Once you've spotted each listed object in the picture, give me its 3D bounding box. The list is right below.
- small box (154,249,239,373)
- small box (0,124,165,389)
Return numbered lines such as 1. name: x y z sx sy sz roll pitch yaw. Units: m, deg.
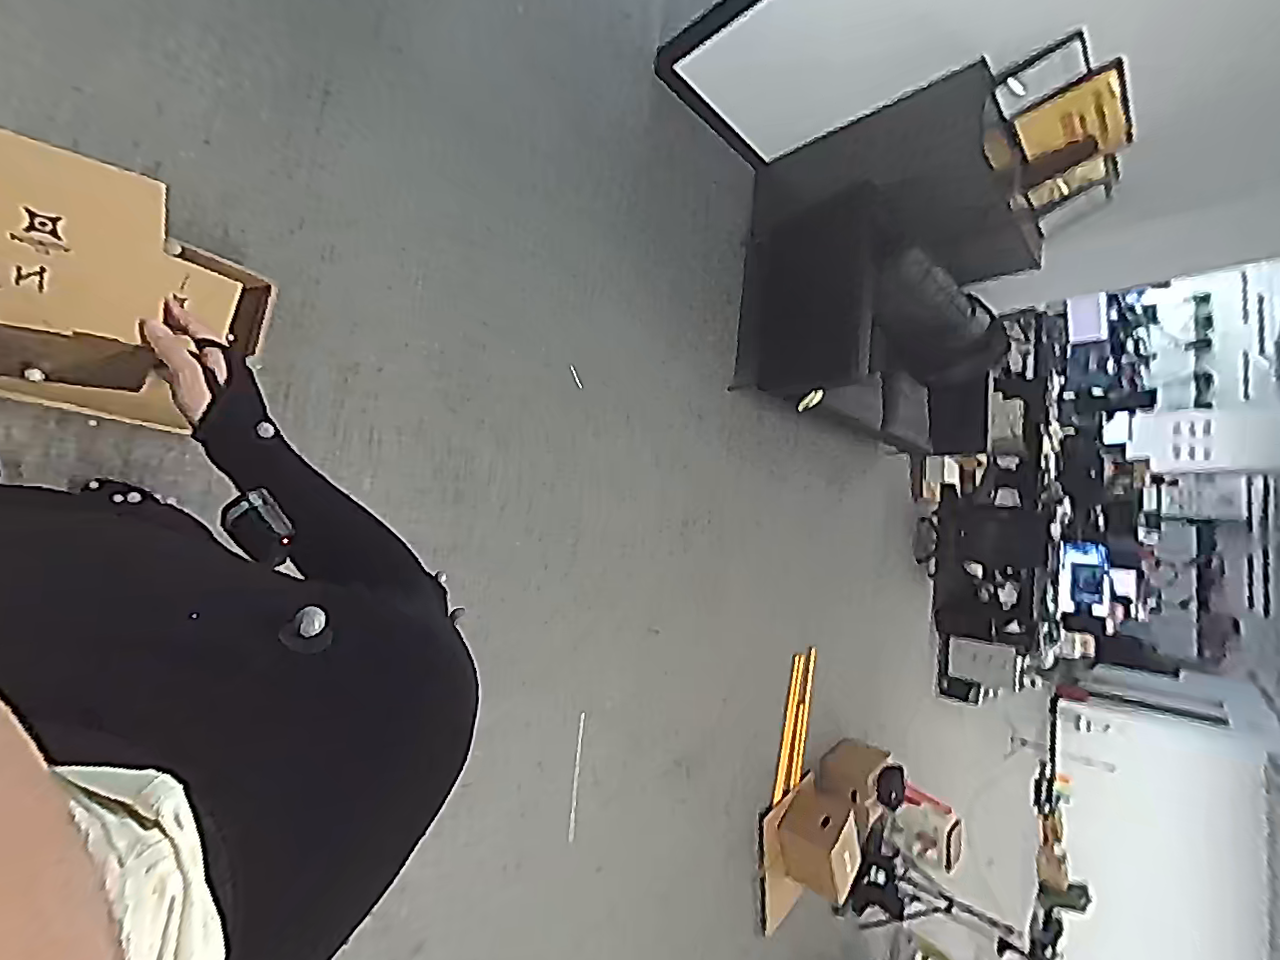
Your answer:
1. small box: -0.902 -0.321 1.035 0.168 0.176 0.179 19 75 -42
2. small box: -0.578 -0.203 0.516 0.168 0.176 0.179 2 80 -49
